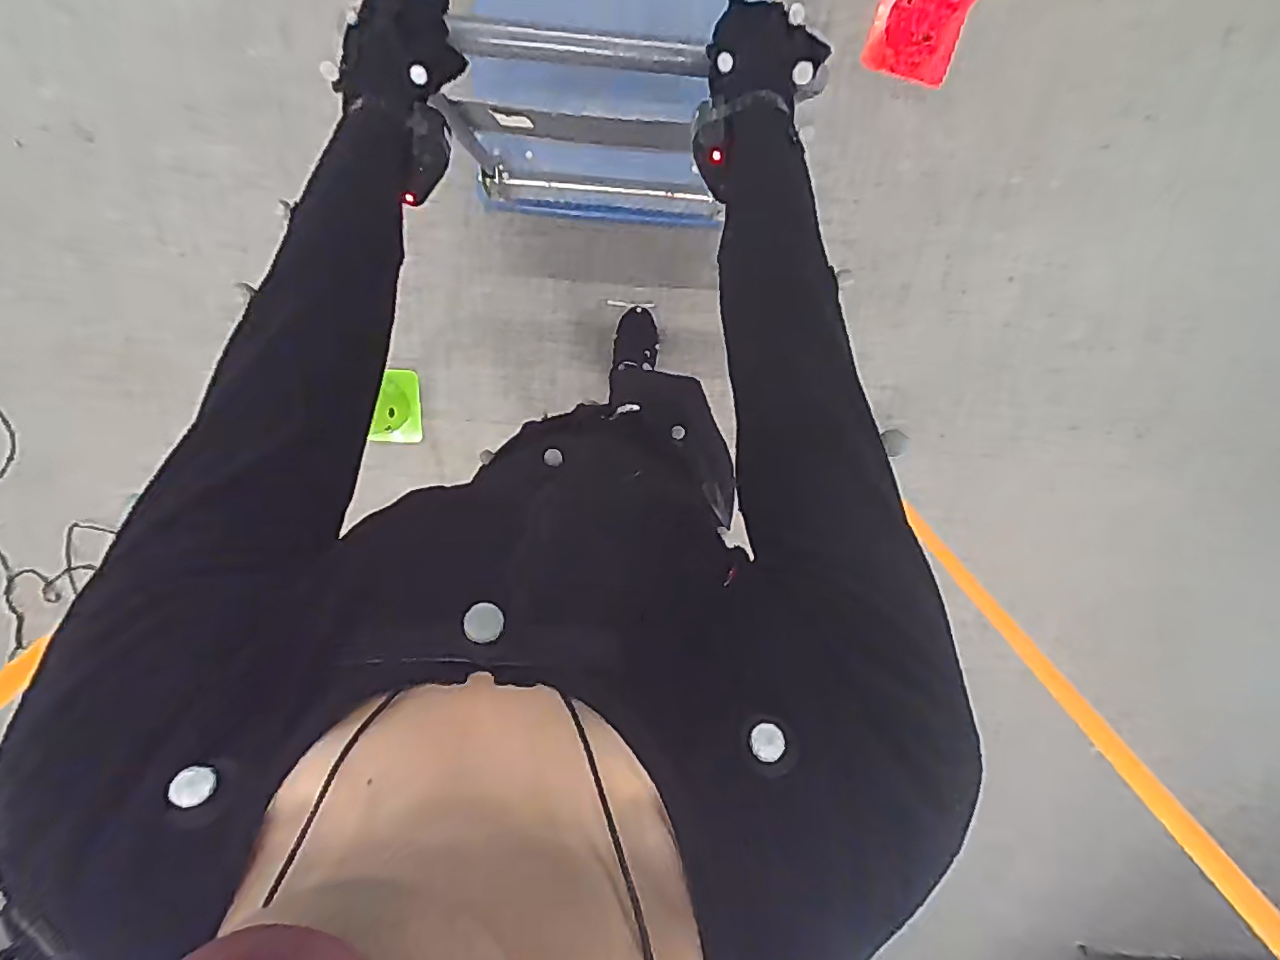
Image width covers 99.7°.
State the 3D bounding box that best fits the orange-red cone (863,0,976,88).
[{"bbox_3d":[0.616,-0.957,1.045,0.198,0.360,0.199,15,108,-4],"label":"orange-red cone"}]
